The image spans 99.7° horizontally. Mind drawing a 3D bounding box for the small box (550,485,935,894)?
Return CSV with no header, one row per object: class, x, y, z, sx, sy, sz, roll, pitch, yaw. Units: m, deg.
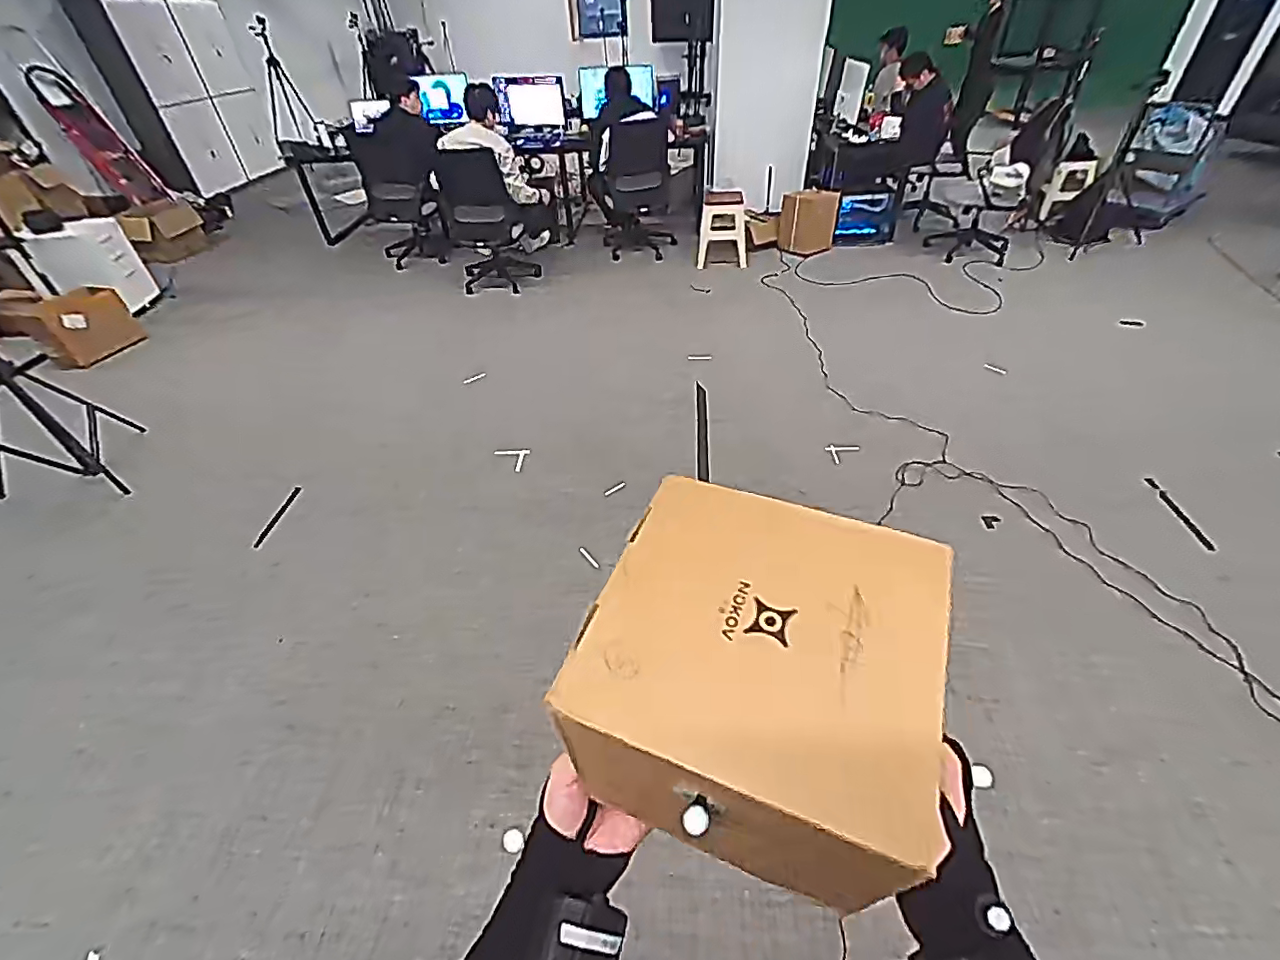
small box,0.068,0.133,0.350,0.179,0.176,0.168,14,49,17
